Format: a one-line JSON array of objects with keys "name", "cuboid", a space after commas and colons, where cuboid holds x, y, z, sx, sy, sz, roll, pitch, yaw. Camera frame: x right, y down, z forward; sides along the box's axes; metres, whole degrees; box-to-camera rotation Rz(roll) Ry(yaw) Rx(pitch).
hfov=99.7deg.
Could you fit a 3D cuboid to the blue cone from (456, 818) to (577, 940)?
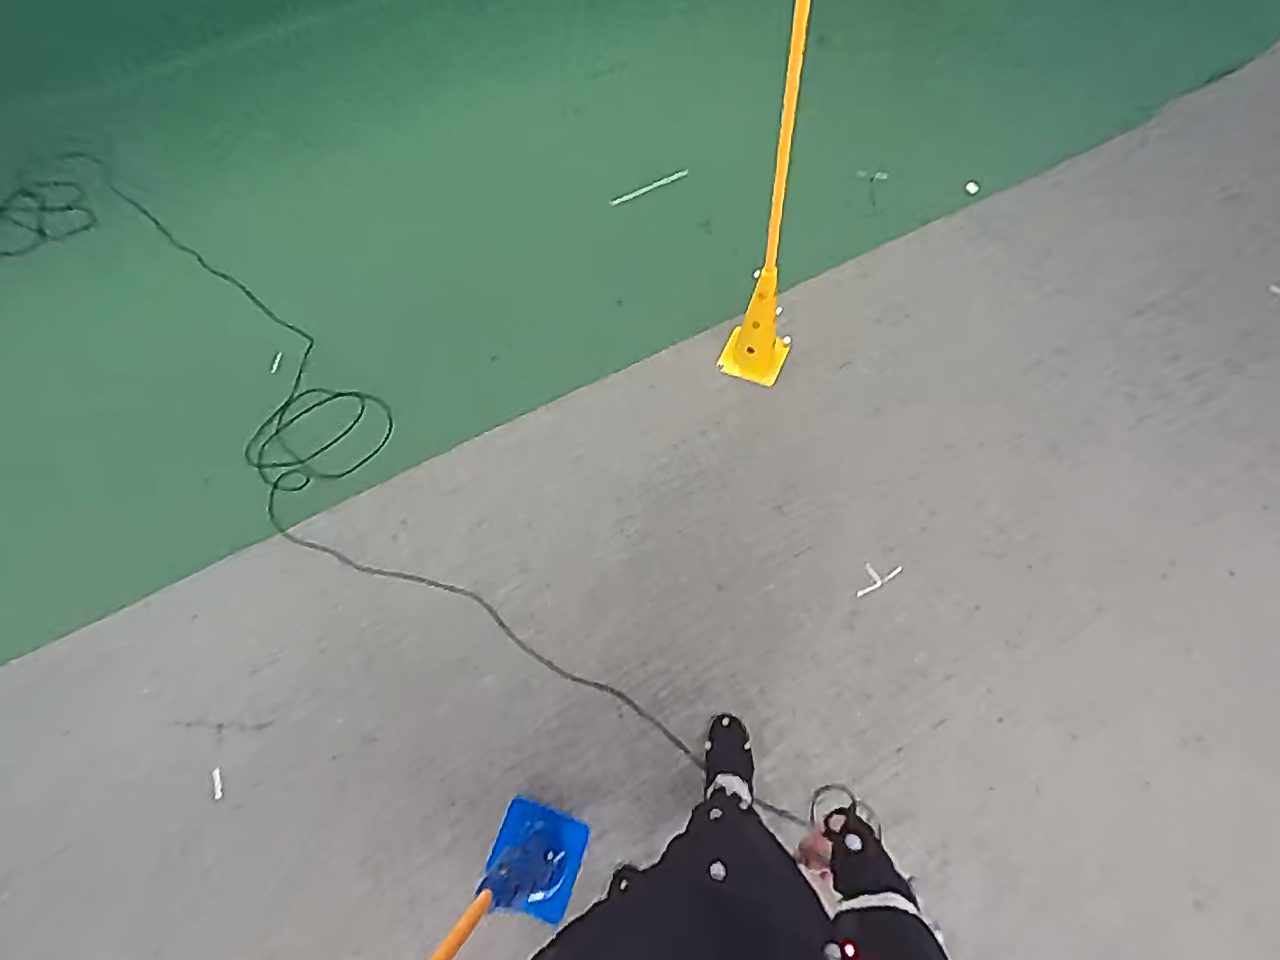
[{"name": "blue cone", "cuboid": [-0.252, 0.791, 1.024, 0.192, 0.380, 0.193, 14, 67, 11]}]
